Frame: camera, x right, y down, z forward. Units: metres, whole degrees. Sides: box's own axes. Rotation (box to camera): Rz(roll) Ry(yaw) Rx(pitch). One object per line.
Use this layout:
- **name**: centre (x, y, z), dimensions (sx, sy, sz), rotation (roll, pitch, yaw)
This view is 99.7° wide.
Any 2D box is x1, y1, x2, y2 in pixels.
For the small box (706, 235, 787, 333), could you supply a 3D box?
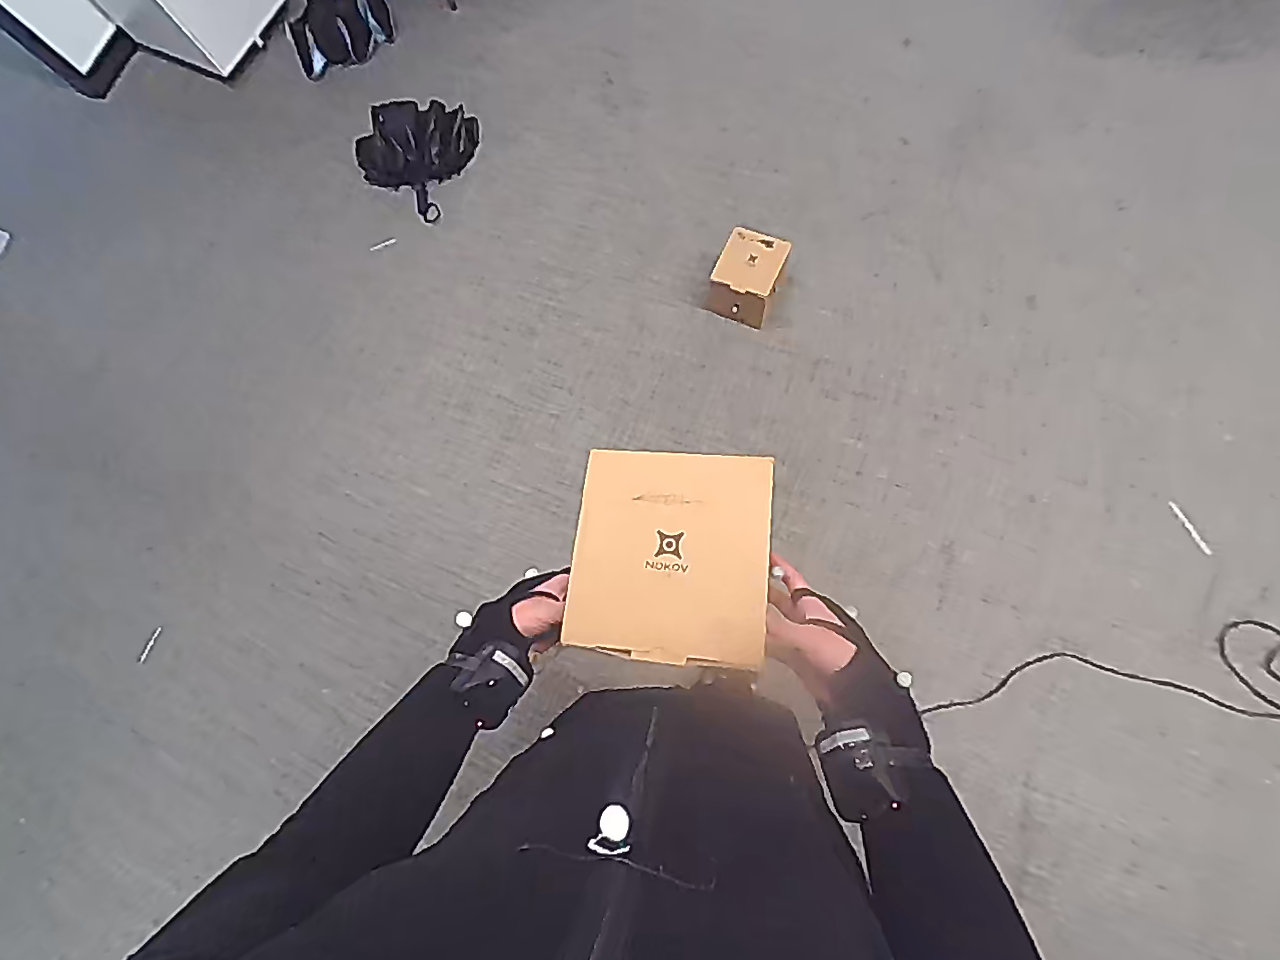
- **small box**: centre (0.298, -0.546, 1.528), dimensions (0.168, 0.176, 0.179), rotation (24, 81, 12)

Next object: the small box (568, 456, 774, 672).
- **small box**: centre (0.041, 0.090, 0.533), dimensions (0.168, 0.176, 0.179), rotation (3, 70, 10)
